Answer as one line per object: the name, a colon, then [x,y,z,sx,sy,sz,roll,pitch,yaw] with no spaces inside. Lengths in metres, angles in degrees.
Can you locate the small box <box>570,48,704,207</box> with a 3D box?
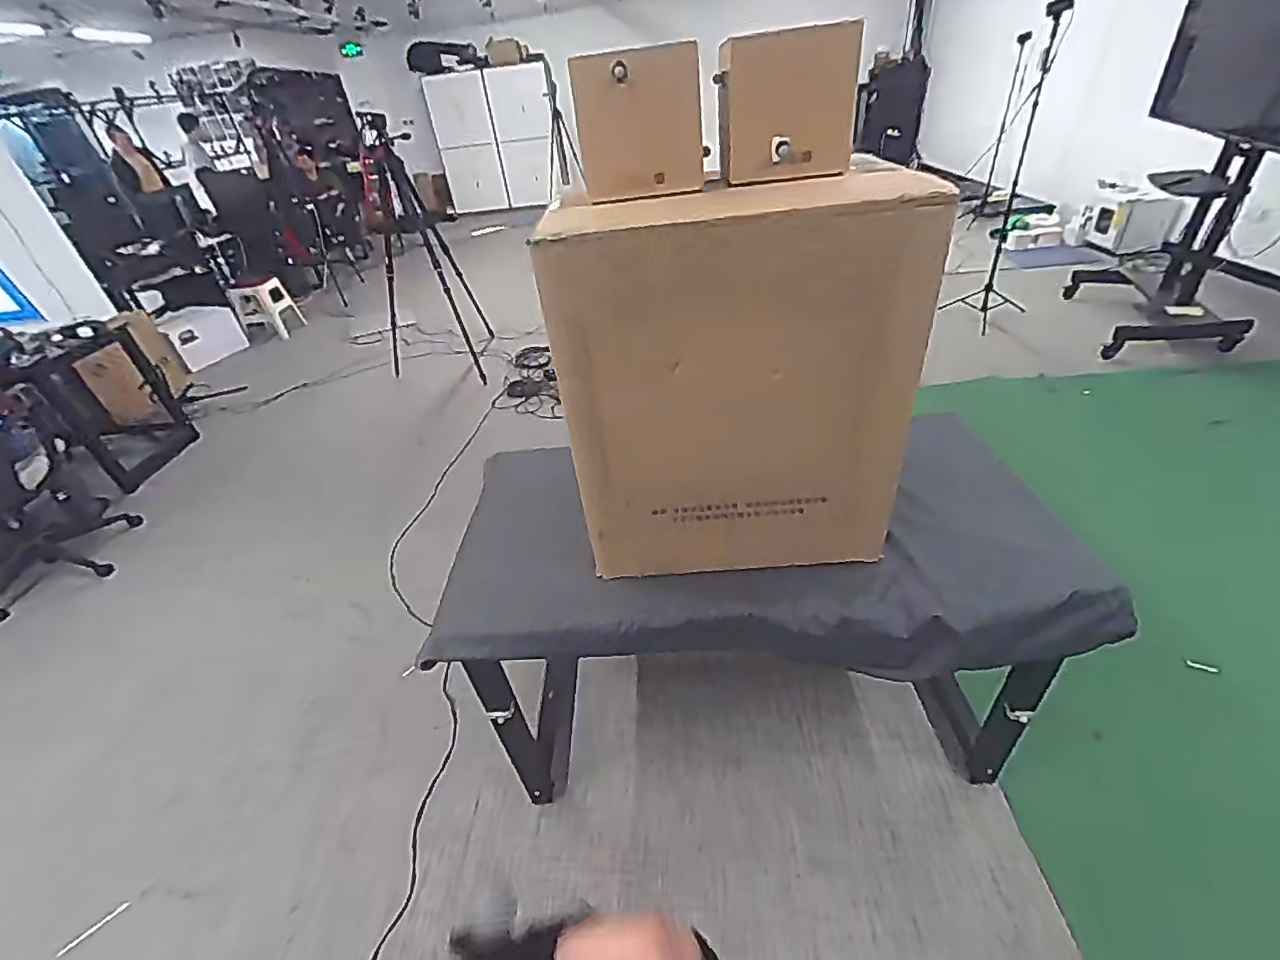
small box: [0.004,-0.508,0.793,0.168,0.176,0.179,-5,34,6]
